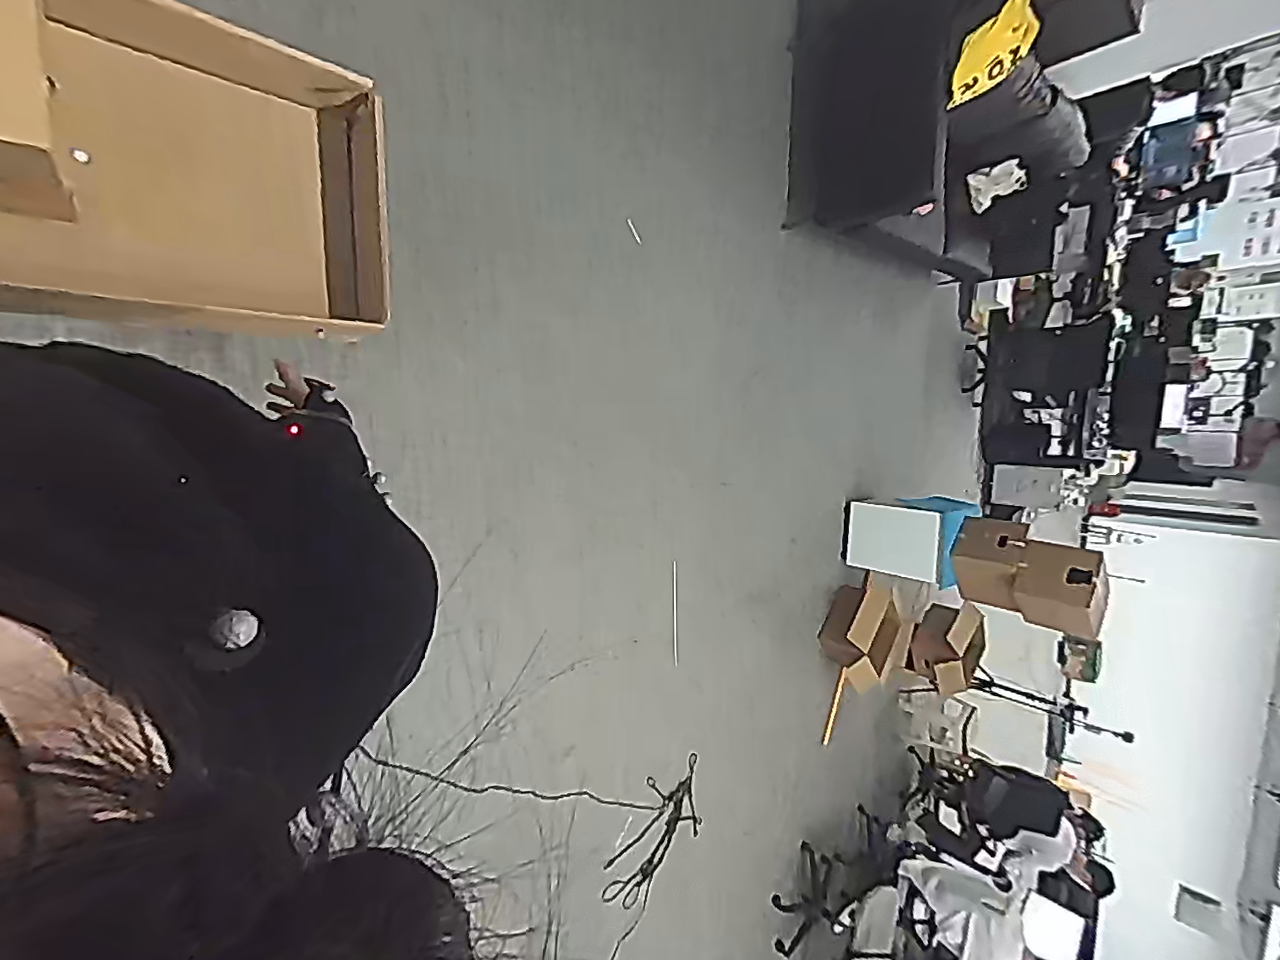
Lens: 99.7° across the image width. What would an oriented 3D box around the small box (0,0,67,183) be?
[{"bbox_3d":[-0.678,-0.413,0.514,0.168,0.176,0.179,-5,99,-42],"label":"small box"}]
